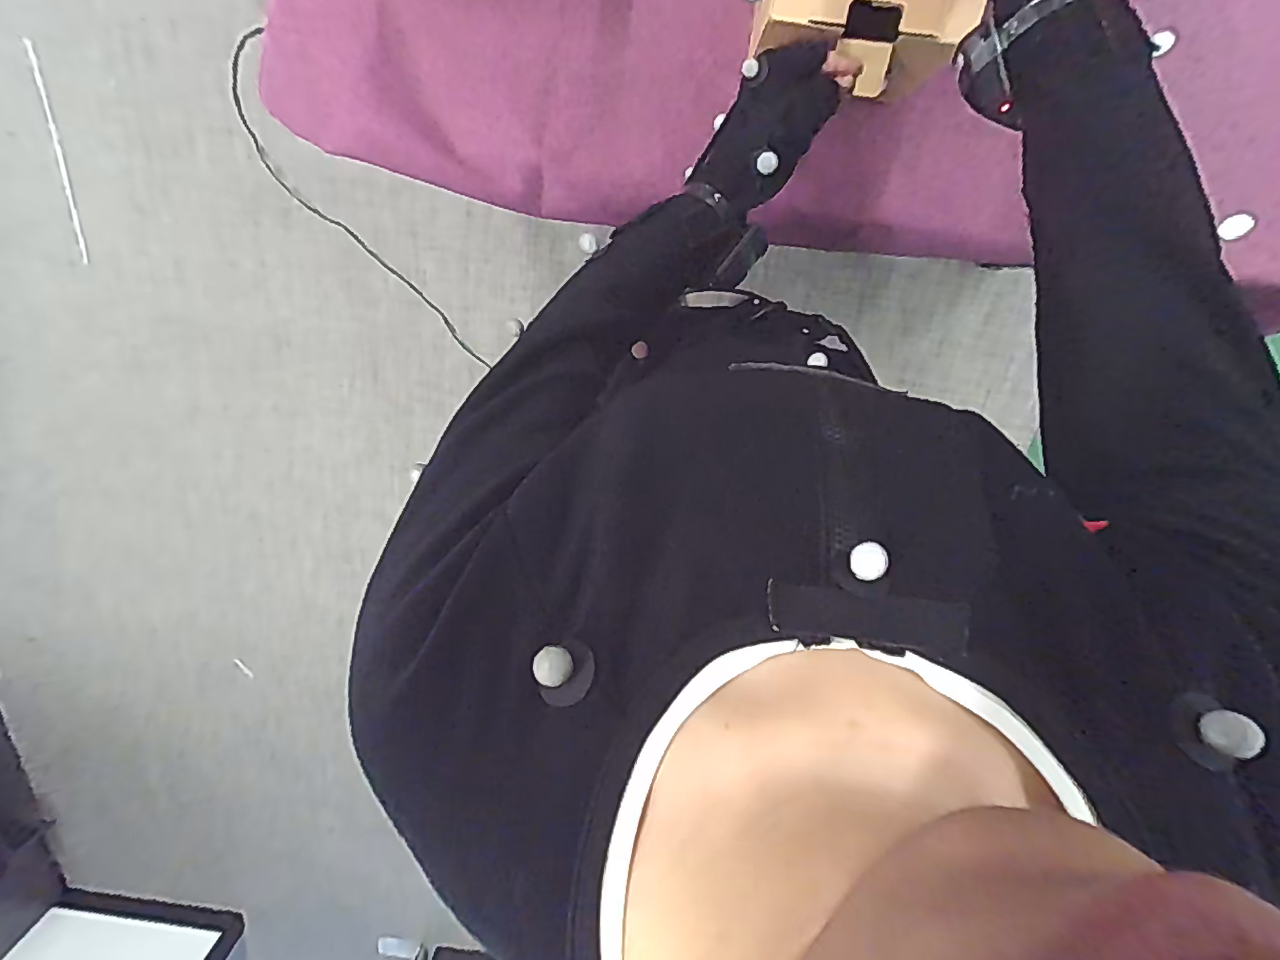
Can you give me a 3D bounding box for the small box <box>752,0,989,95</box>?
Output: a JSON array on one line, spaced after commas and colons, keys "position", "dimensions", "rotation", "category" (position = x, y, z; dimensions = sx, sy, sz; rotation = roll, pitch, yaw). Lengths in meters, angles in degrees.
[{"position": [0.198, -0.459, 0.462], "dimensions": [0.168, 0.176, 0.179], "rotation": [8, 112, 1], "category": "small box"}]
